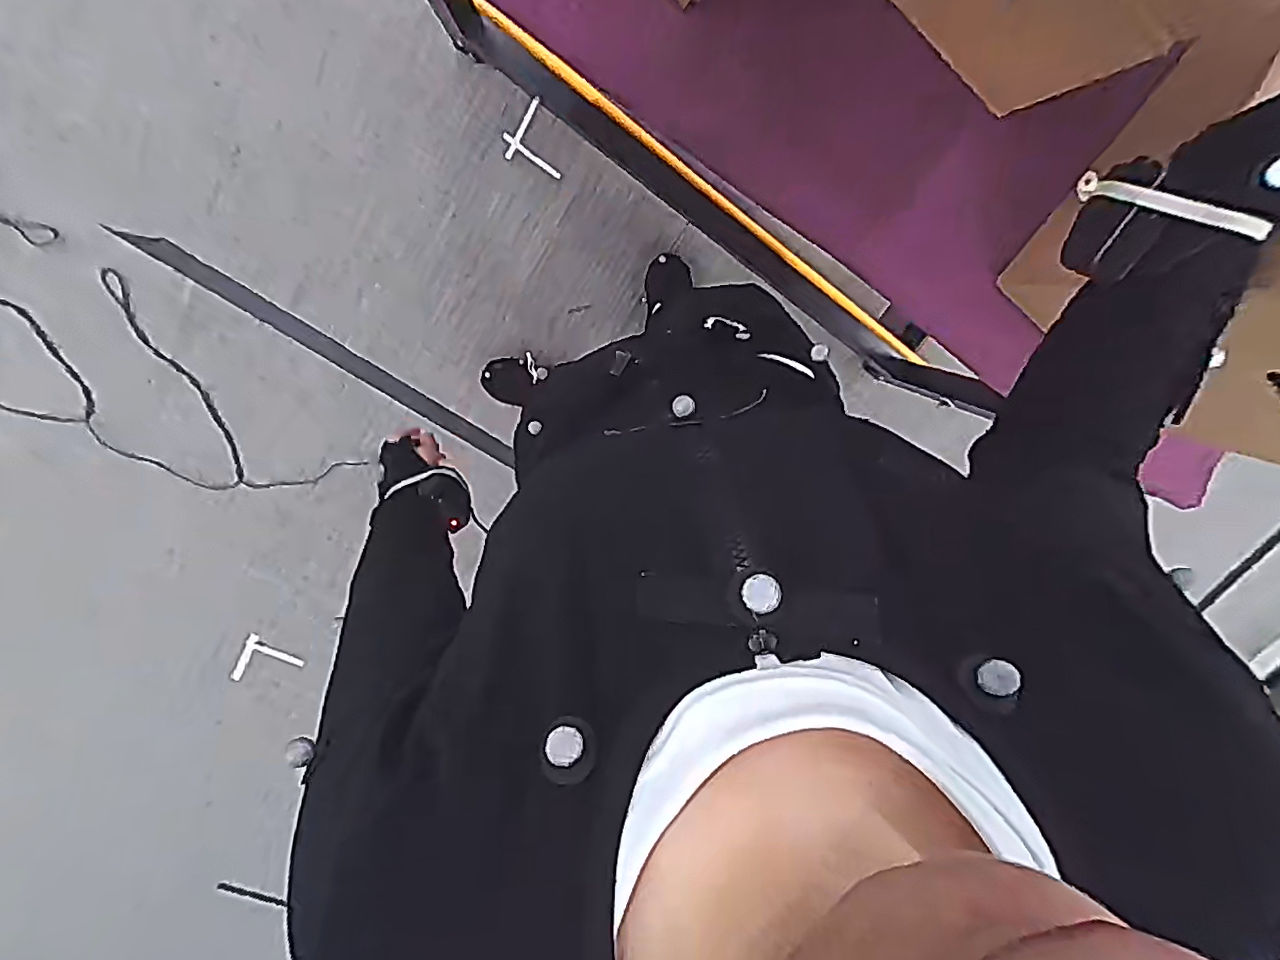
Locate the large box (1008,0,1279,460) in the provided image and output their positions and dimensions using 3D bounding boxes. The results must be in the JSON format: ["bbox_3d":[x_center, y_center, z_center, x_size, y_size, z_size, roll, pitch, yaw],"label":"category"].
[{"bbox_3d":[0.628,-0.239,0.430,0.320,0.320,0.408,31,104,-16],"label":"large box"}]
